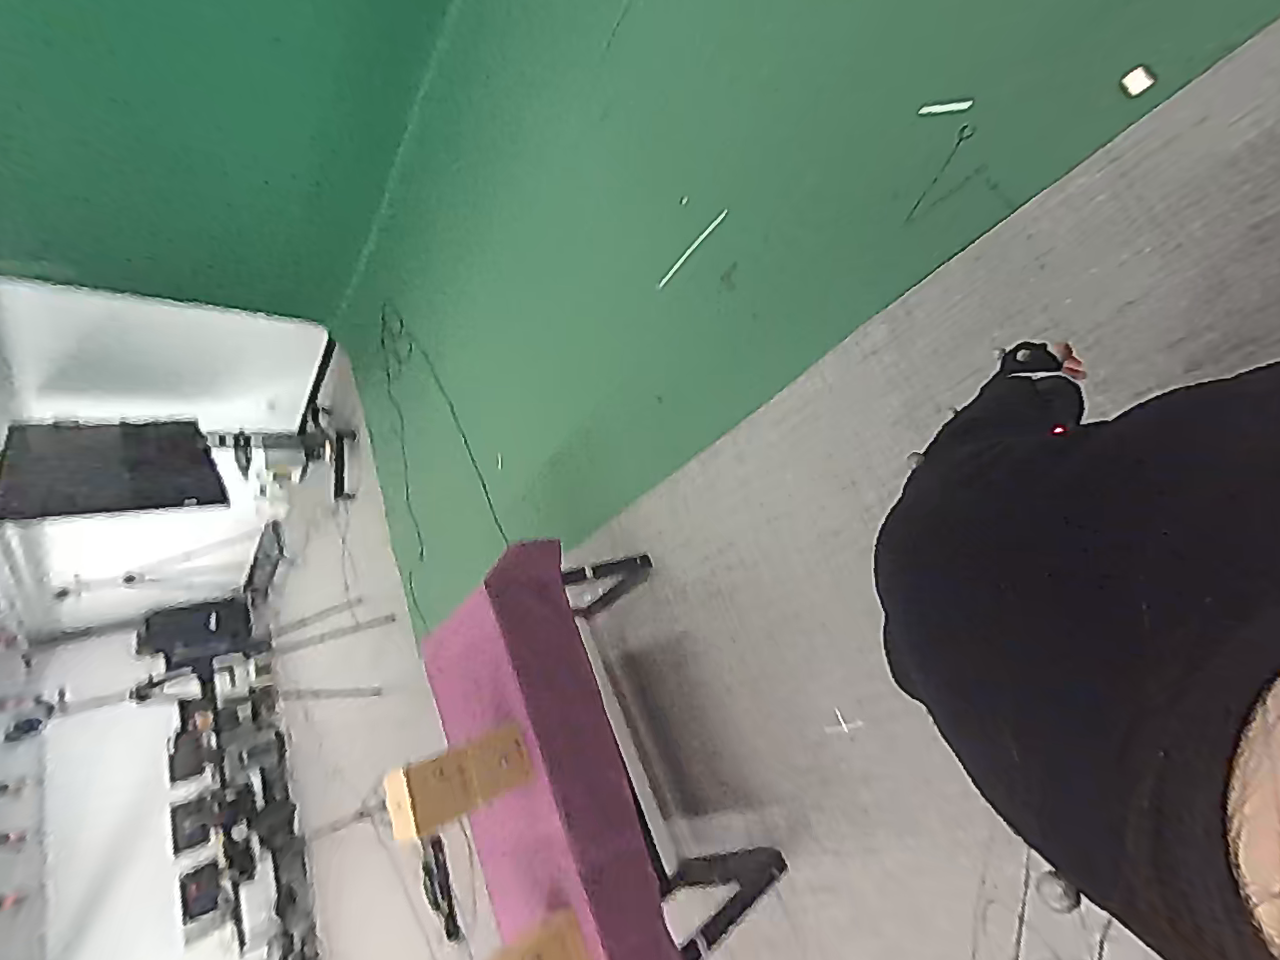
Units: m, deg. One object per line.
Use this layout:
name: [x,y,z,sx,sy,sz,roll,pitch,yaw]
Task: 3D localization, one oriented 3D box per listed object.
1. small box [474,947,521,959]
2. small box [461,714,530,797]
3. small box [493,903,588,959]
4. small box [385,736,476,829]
small box: [-0.367,1.242,1.272,0.179,0.176,0.168,-44,61,38]
small box: [-0.434,0.795,1.553,0.179,0.176,0.168,-40,64,40]
small box: [-0.248,1.231,1.385,0.168,0.176,0.179,-44,61,39]
small box: [-0.555,0.803,1.443,0.179,0.176,0.168,-38,65,41]
